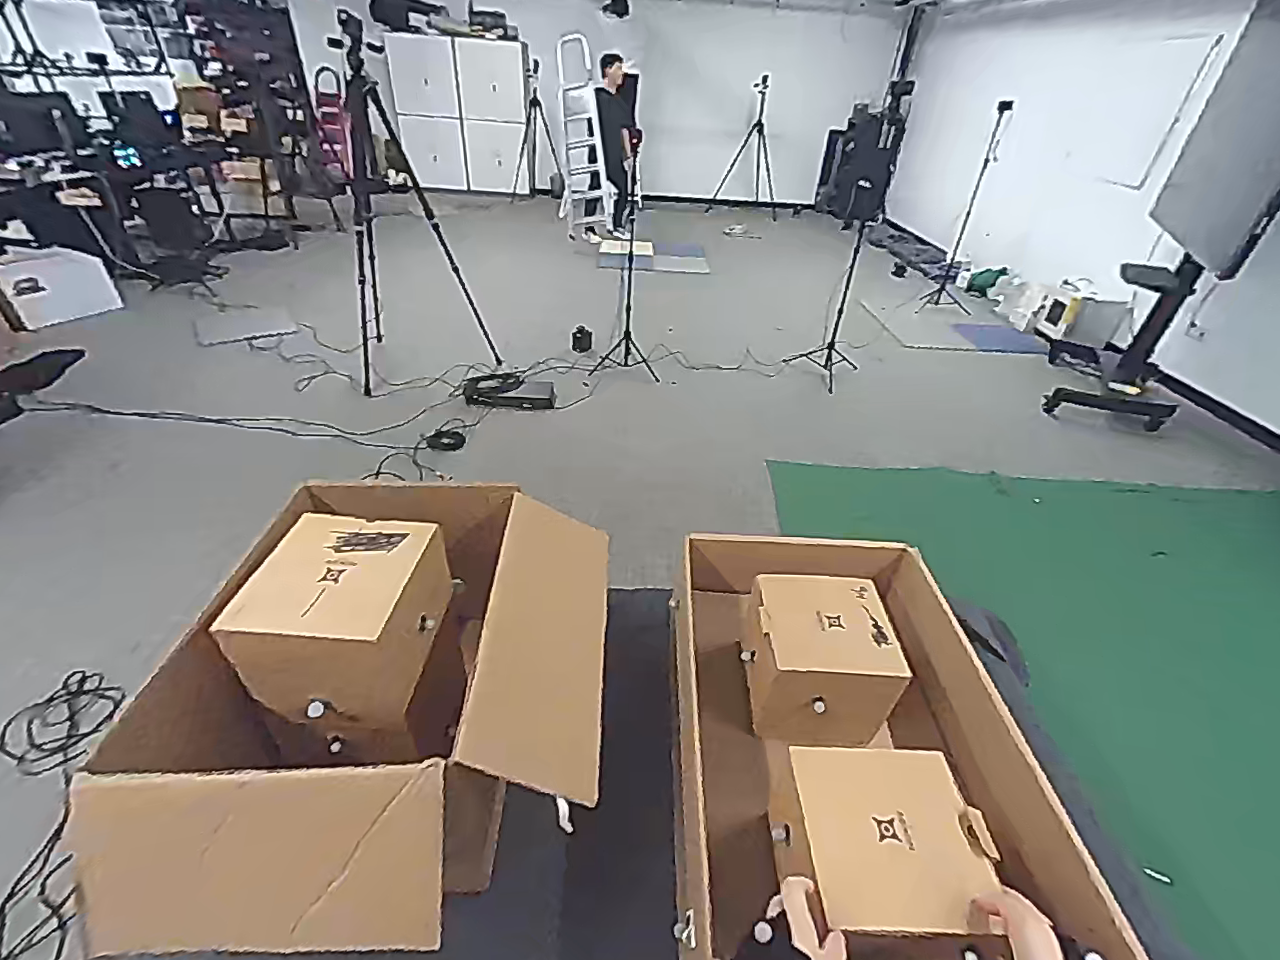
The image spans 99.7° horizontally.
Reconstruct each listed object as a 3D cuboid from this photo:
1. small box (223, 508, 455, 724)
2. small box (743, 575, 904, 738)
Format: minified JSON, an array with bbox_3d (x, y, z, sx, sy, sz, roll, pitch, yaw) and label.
[{"bbox_3d":[-0.330,0.158,0.642,0.168,0.176,0.179,5,39,0],"label":"small box"},{"bbox_3d":[0.252,0.260,0.798,0.179,0.176,0.168,3,39,0],"label":"small box"}]
